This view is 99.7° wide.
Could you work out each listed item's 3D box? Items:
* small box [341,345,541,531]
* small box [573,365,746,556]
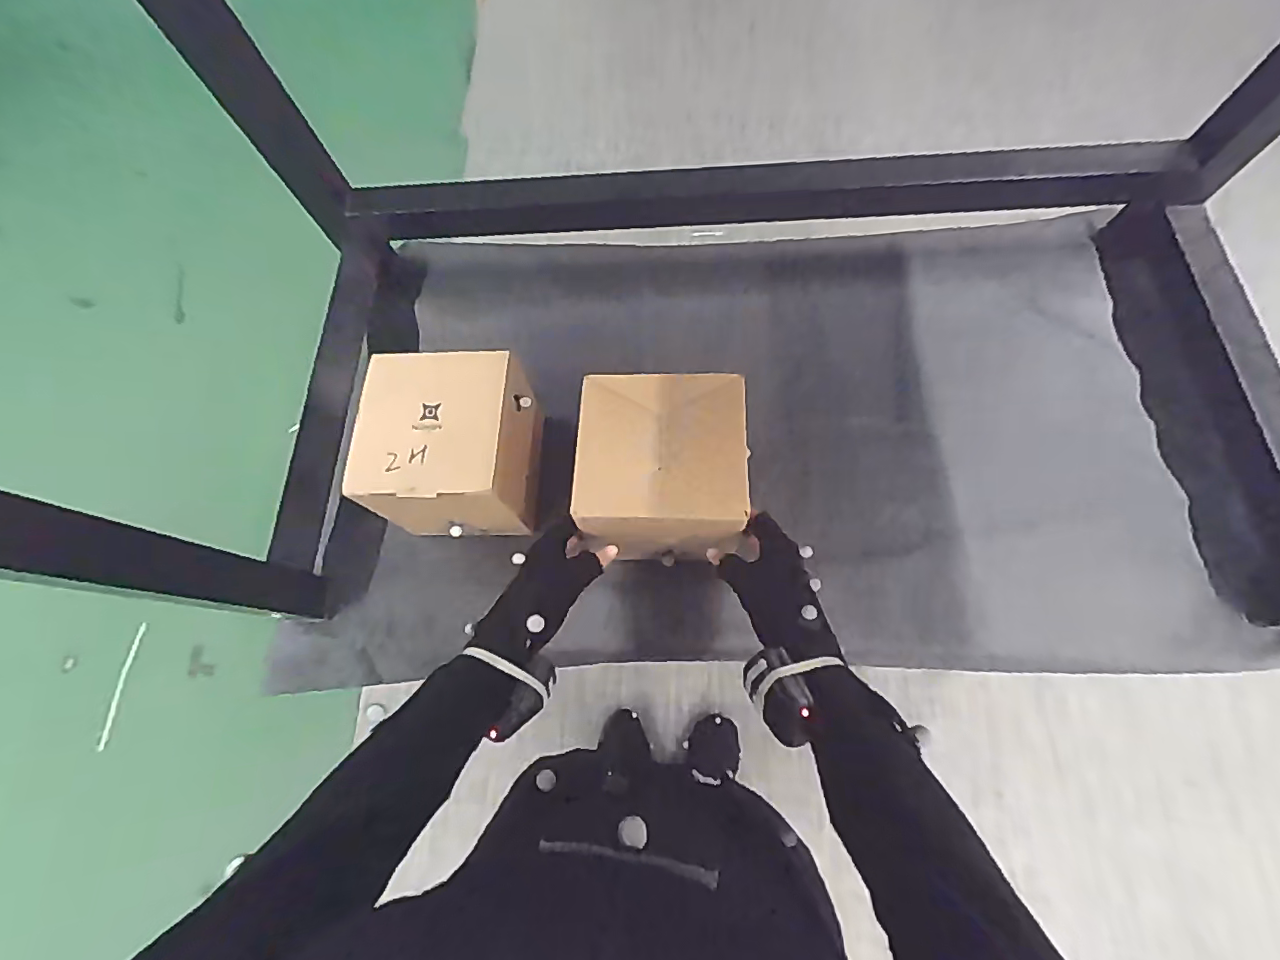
[{"bbox_3d":[-0.226,-0.045,0.666,0.168,0.176,0.179,-1,69,5],"label":"small box"},{"bbox_3d":[0.023,-0.017,0.624,0.179,0.176,0.168,0,64,5],"label":"small box"}]
